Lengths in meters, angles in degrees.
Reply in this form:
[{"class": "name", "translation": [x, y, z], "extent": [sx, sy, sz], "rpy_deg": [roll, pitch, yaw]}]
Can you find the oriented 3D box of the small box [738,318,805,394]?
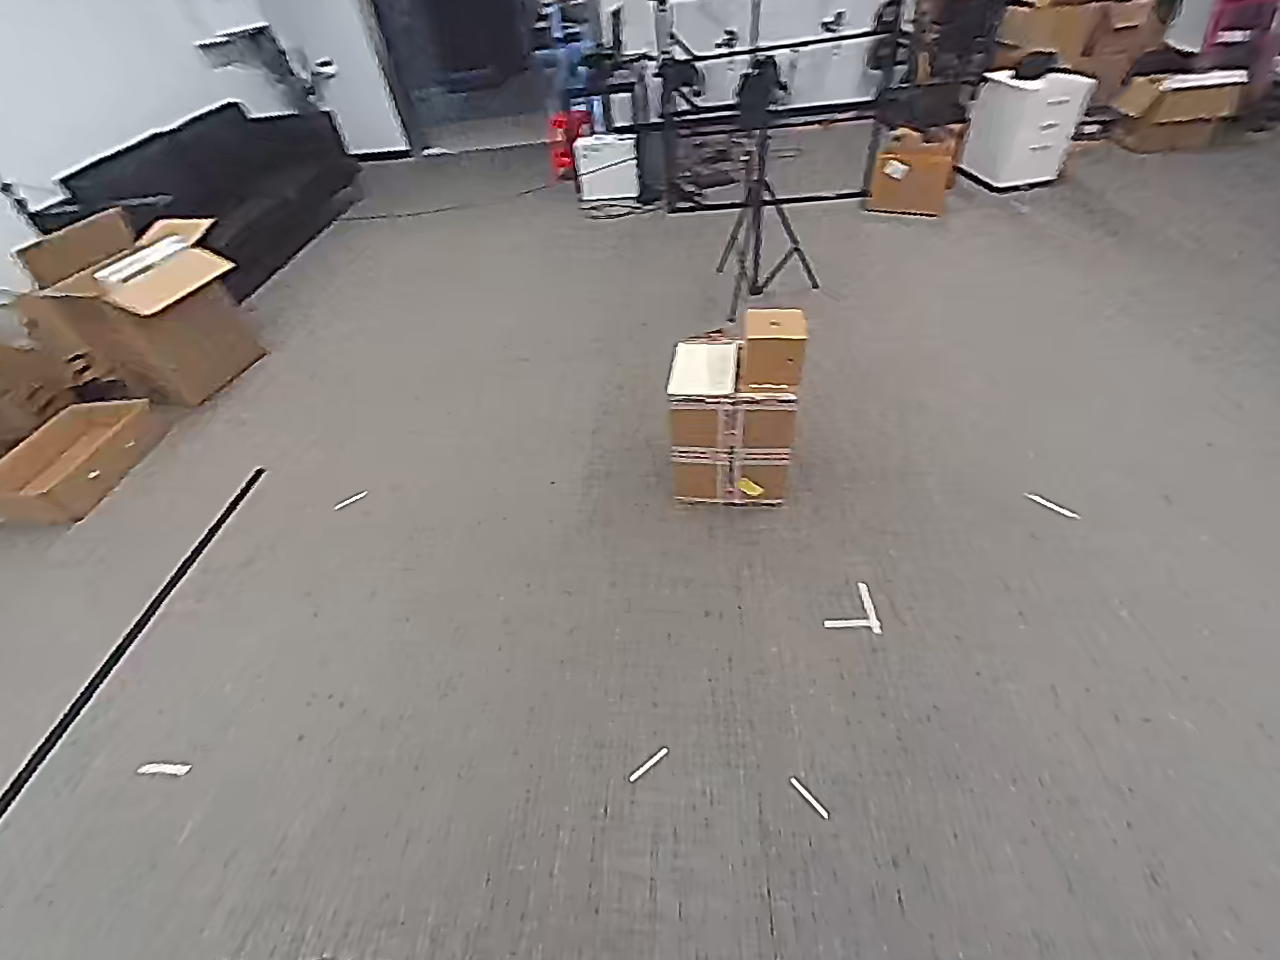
[{"class": "small box", "translation": [0.395, -0.375, 1.651], "extent": [0.179, 0.176, 0.168], "rpy_deg": [1, 47, 7]}]
